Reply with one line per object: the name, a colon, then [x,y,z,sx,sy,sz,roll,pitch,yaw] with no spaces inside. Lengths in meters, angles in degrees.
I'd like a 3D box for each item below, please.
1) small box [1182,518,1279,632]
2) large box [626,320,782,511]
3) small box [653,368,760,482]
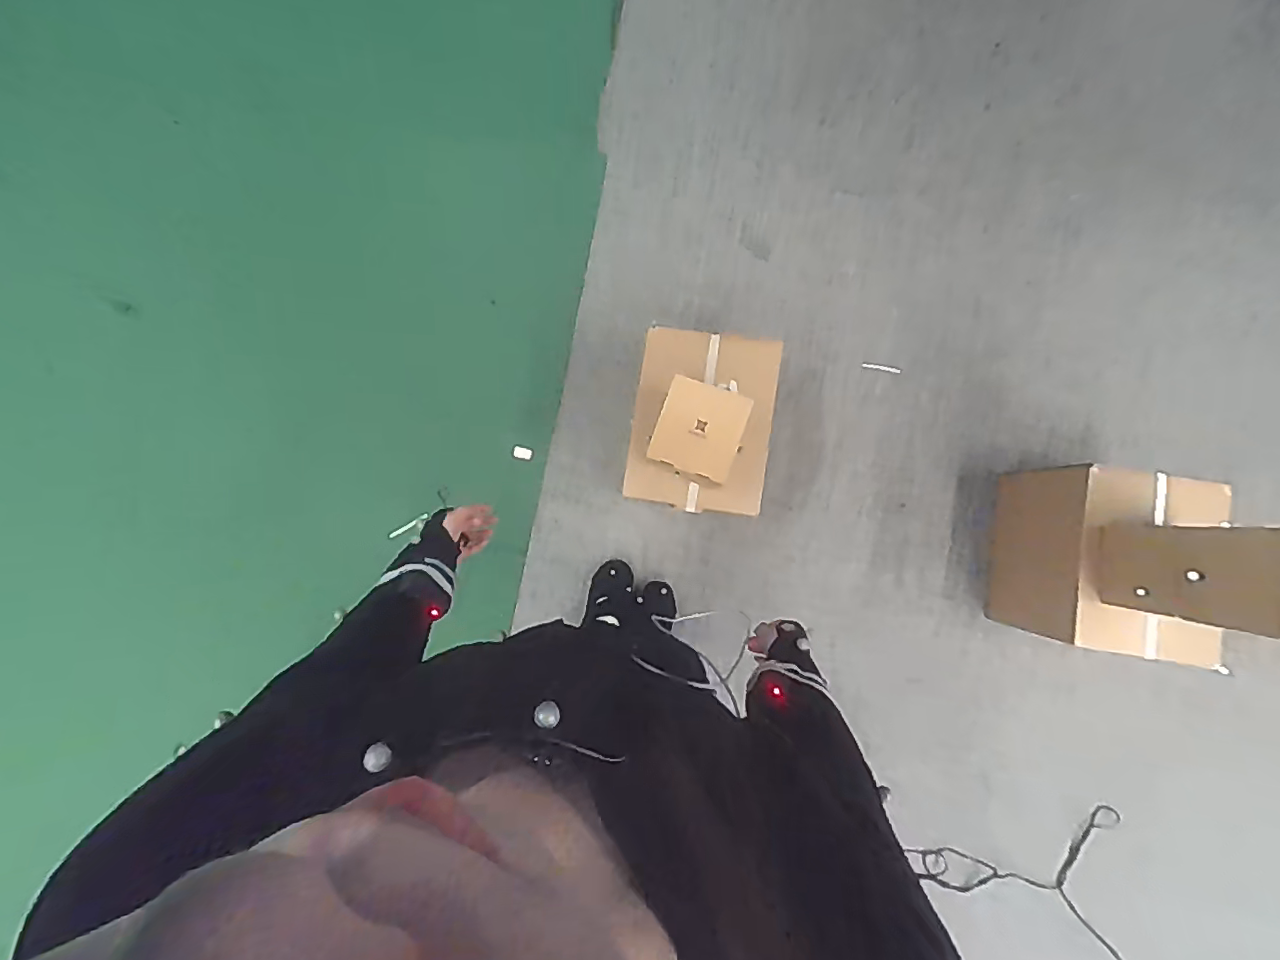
small box: [1.087,0.157,0.923,0.168,0.176,0.179,0,87,3]
large box: [0.154,-0.140,1.371,0.320,0.320,0.408,9,86,2]
small box: [0.130,-0.106,1.124,0.168,0.176,0.179,20,88,4]
